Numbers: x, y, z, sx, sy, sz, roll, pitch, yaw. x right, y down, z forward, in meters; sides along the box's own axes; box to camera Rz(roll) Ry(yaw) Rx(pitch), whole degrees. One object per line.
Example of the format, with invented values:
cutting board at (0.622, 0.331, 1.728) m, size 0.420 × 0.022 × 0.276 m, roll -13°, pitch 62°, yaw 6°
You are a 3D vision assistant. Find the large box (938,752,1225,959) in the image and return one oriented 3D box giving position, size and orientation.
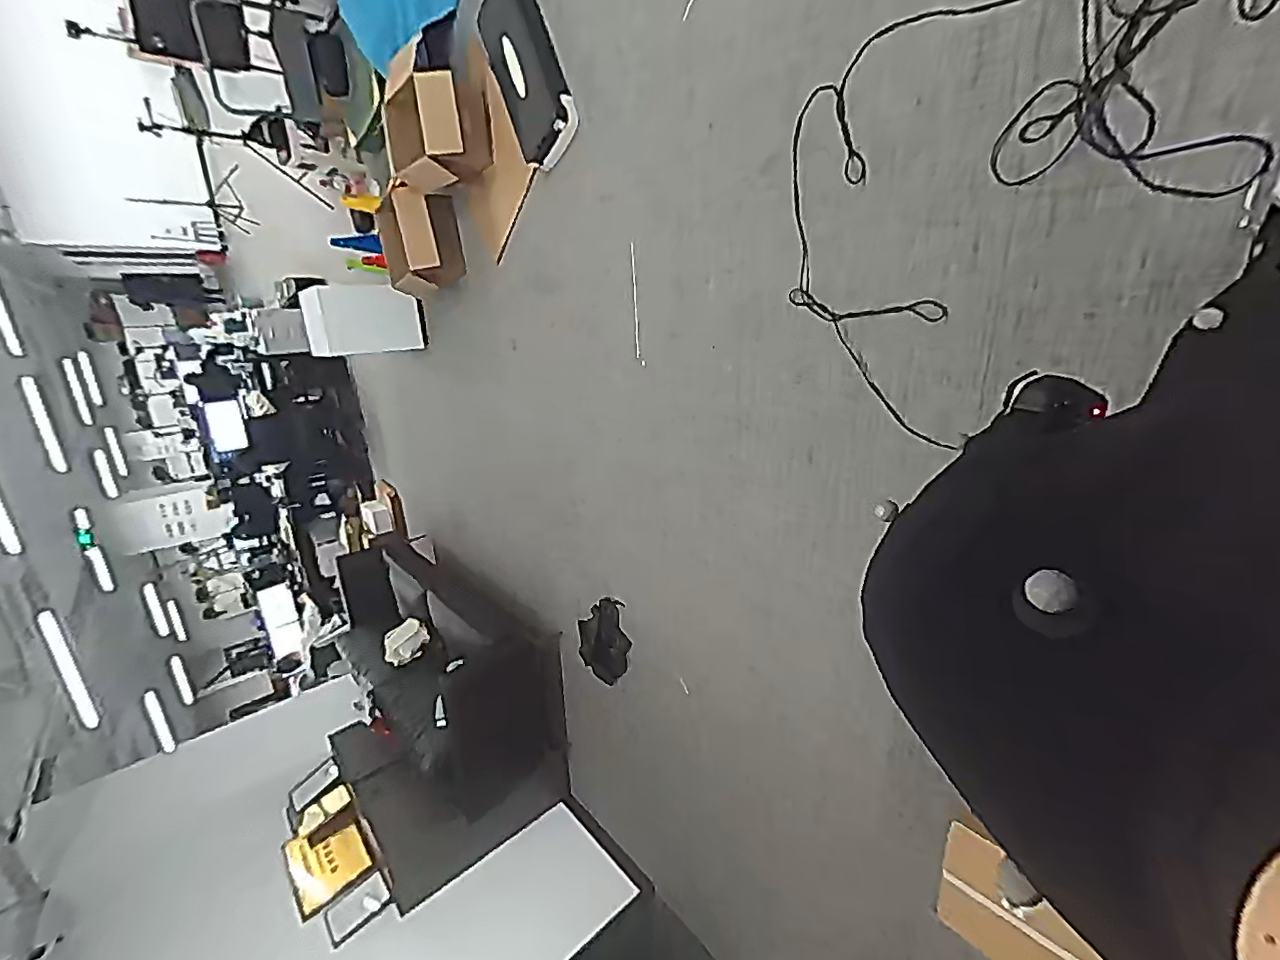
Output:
large box at (0.944, 0.900, 1.184) m, size 0.408 × 0.320 × 0.320 m, roll 18°, pitch 116°, yaw 48°
